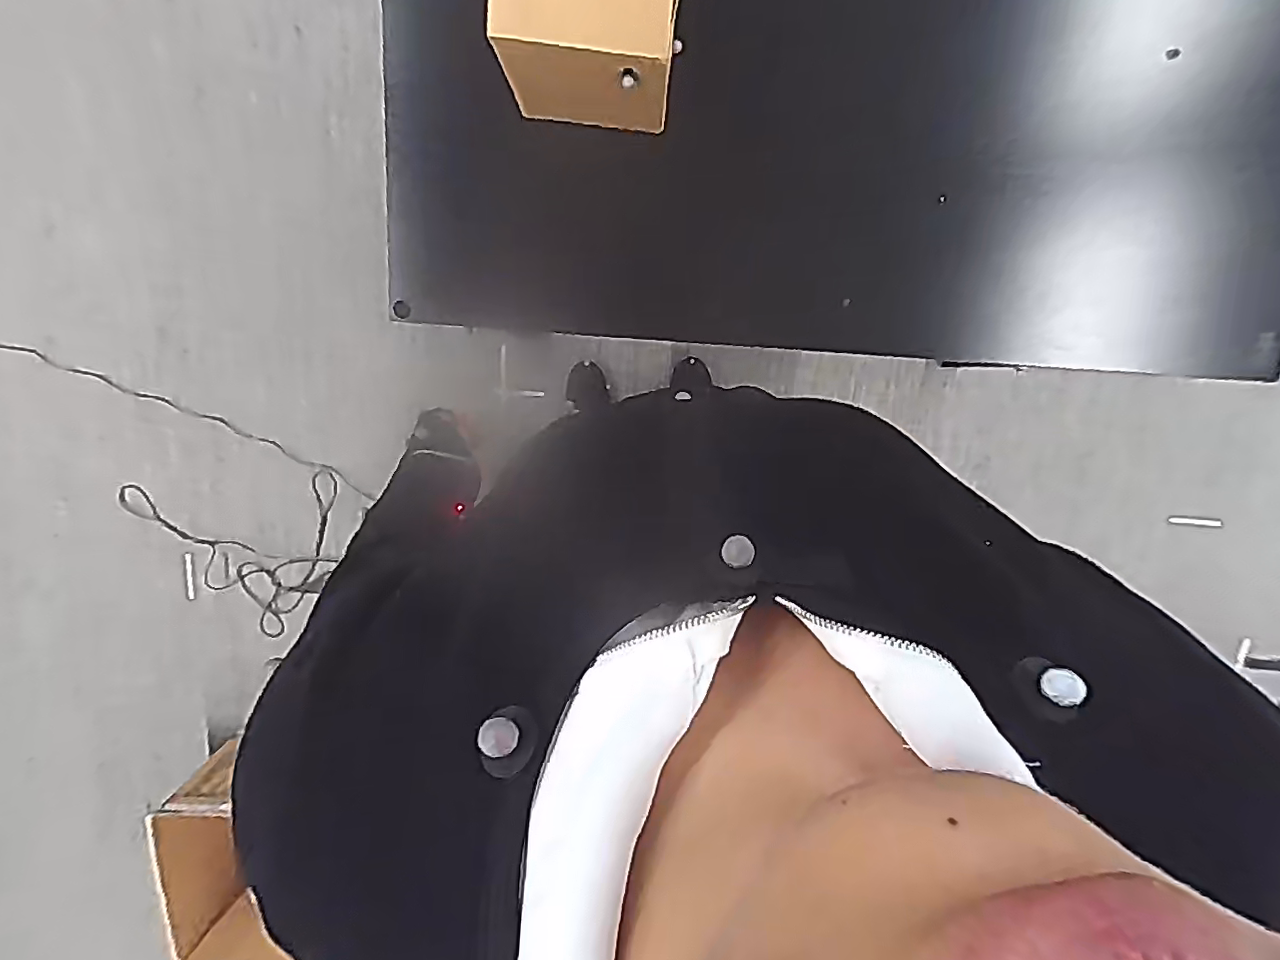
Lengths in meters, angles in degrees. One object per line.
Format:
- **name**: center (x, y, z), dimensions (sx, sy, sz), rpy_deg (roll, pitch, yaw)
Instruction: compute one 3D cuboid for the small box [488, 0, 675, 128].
- **small box**: center (-0.052, -0.508, 0.580), dimensions (0.179, 0.176, 0.168), rpy_deg (5, 102, -3)
